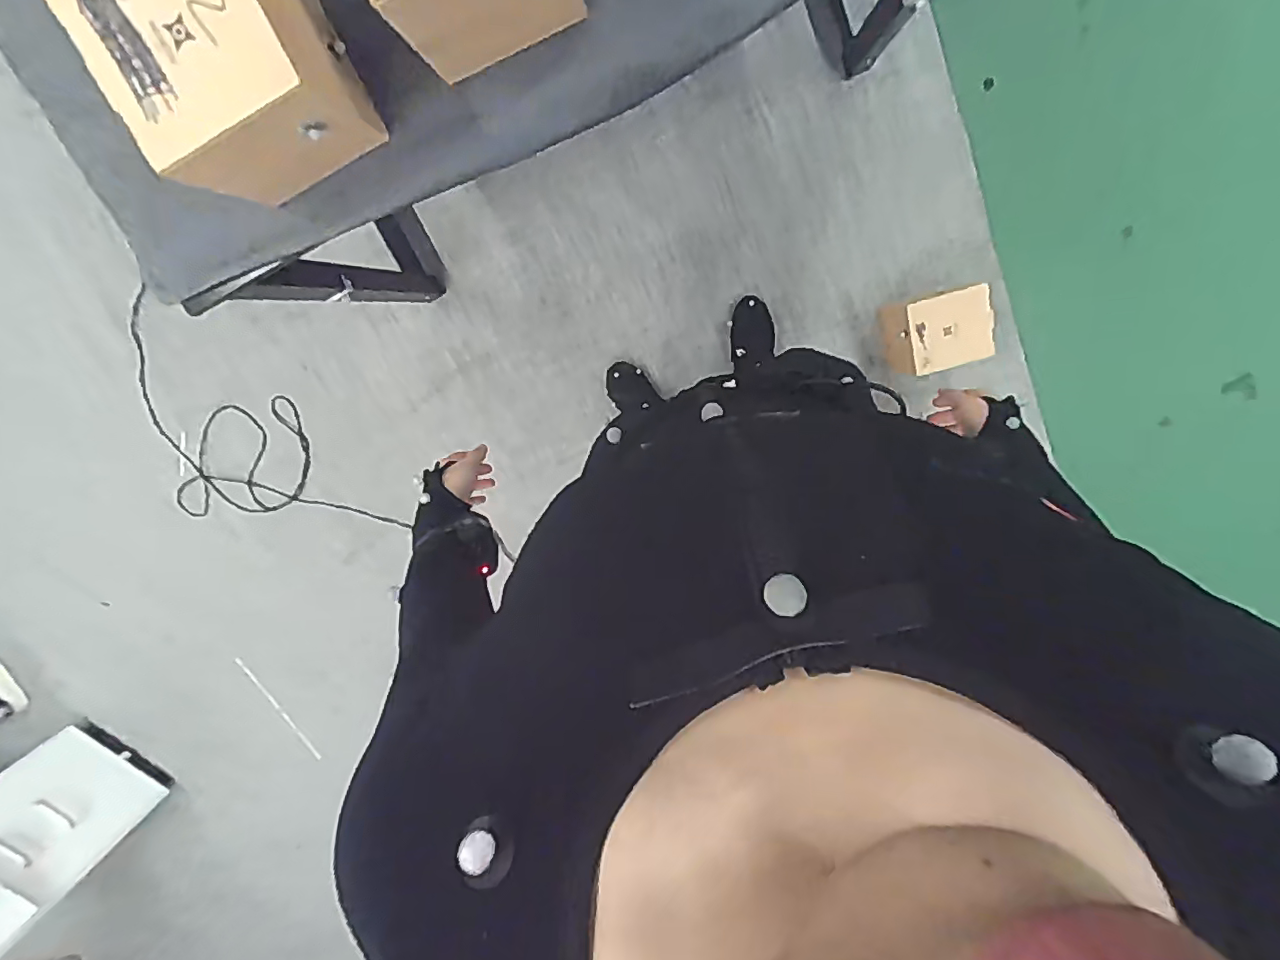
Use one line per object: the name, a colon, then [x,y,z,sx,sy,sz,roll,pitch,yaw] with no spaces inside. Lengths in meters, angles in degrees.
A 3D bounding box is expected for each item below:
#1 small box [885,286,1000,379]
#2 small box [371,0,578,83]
small box: [0.705,-0.350,1.273,0.179,0.176,0.168,-15,107,8]
small box: [-0.169,-0.526,0.511,0.179,0.176,0.168,-18,103,10]
